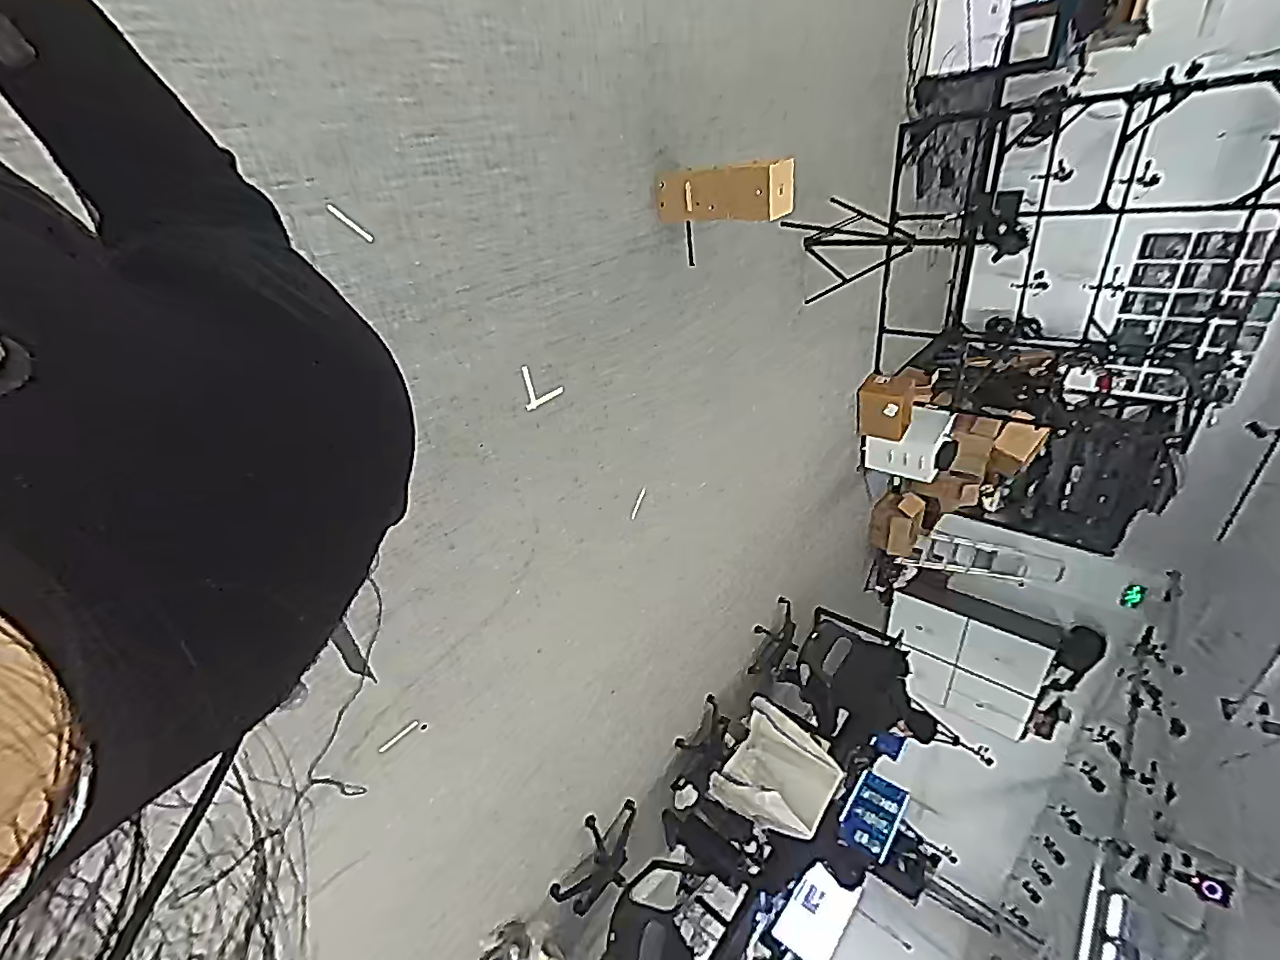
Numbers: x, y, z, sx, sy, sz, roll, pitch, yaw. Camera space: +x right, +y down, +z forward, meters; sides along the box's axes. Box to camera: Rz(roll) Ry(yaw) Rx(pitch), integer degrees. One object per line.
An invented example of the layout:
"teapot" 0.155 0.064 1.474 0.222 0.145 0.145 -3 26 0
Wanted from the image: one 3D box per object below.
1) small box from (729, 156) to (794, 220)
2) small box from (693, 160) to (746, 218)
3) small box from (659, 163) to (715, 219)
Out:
"small box" 0.431 -1.039 1.924 0.168 0.176 0.179 -38 132 -34
"small box" 0.308 -1.085 2.020 0.179 0.176 0.168 -39 133 -36
"small box" 0.187 -1.129 2.117 0.179 0.176 0.168 -38 132 -36
